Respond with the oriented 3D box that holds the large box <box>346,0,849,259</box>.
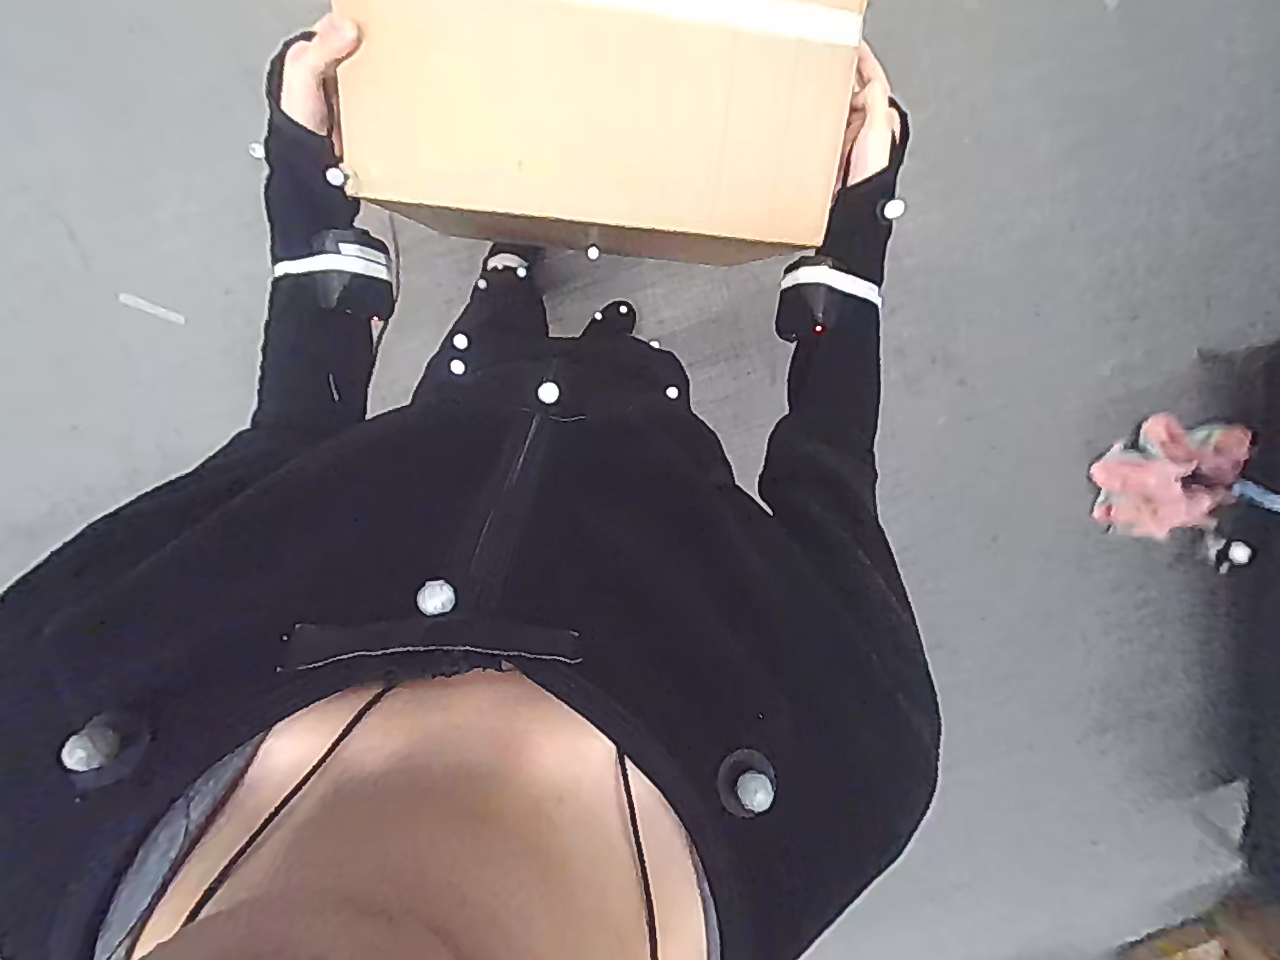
[{"bbox_3d":[-0.039,-0.416,0.570,0.408,0.320,0.320,2,107,-6],"label":"large box"}]
